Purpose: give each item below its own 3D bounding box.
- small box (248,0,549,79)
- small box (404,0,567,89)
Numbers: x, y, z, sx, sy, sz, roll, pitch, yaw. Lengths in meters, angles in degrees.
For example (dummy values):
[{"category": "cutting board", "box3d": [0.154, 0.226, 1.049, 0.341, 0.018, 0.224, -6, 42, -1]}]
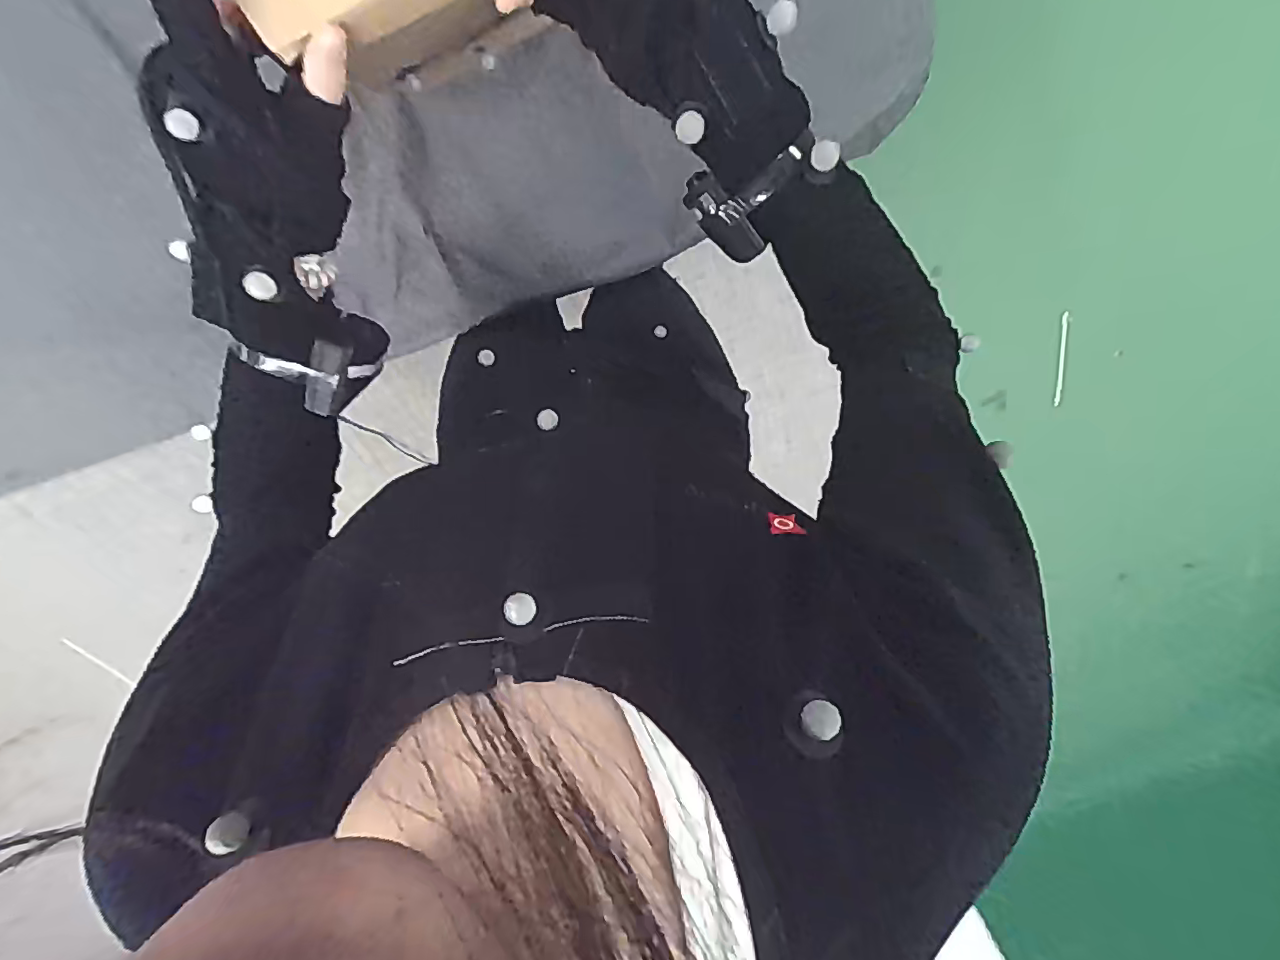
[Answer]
[{"category": "small box", "box3d": [-0.142, -0.343, 0.283, 0.168, 0.176, 0.179, -24, 121, 6]}, {"category": "small box", "box3d": [-0.165, -0.439, 0.415, 0.168, 0.176, 0.179, -22, 122, 6]}]
